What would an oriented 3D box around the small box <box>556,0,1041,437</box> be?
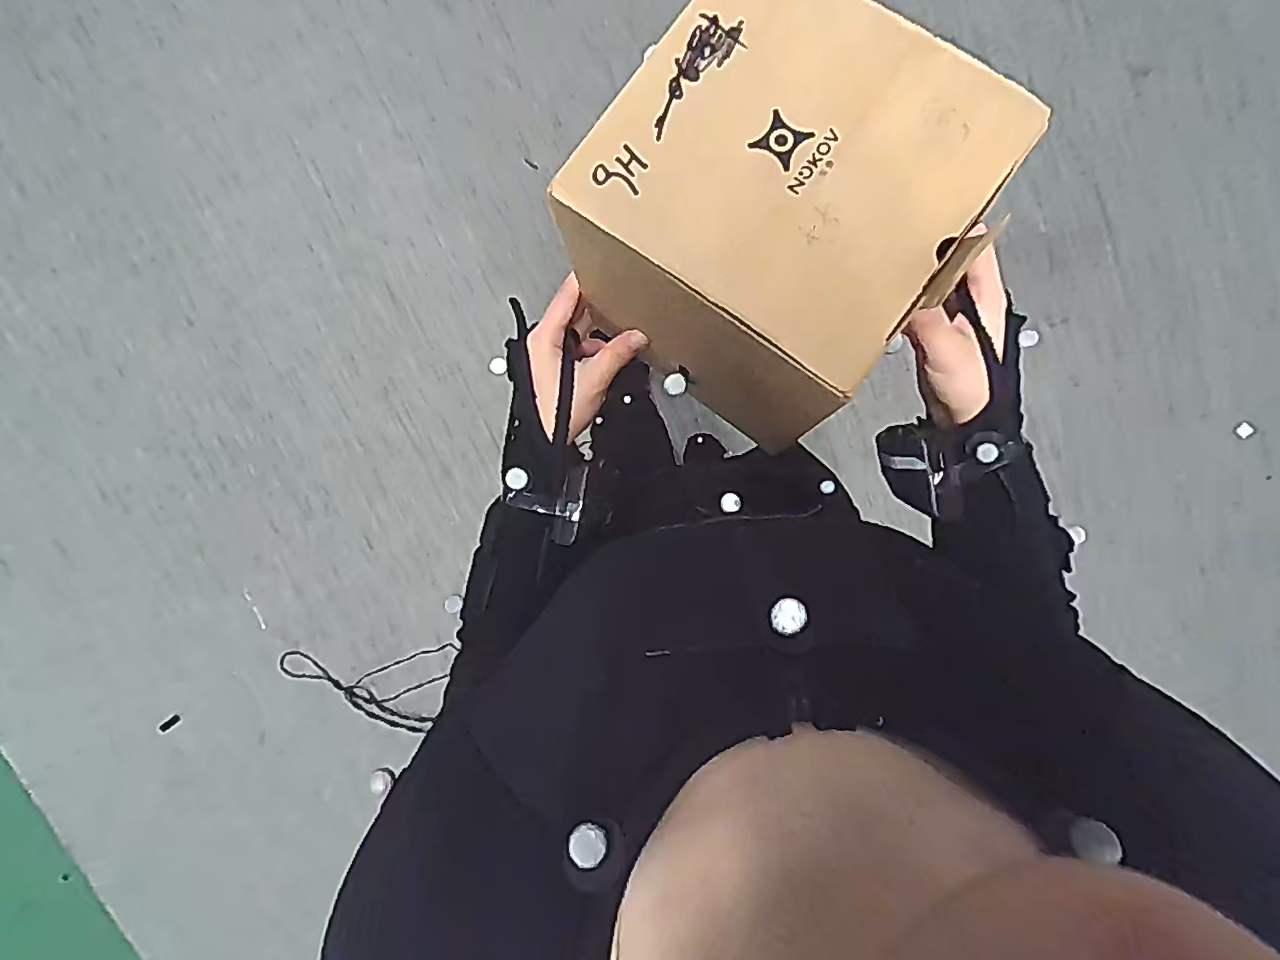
[{"bbox_3d":[0.078,-0.143,0.338,0.179,0.176,0.168,38,86,5],"label":"small box"}]
